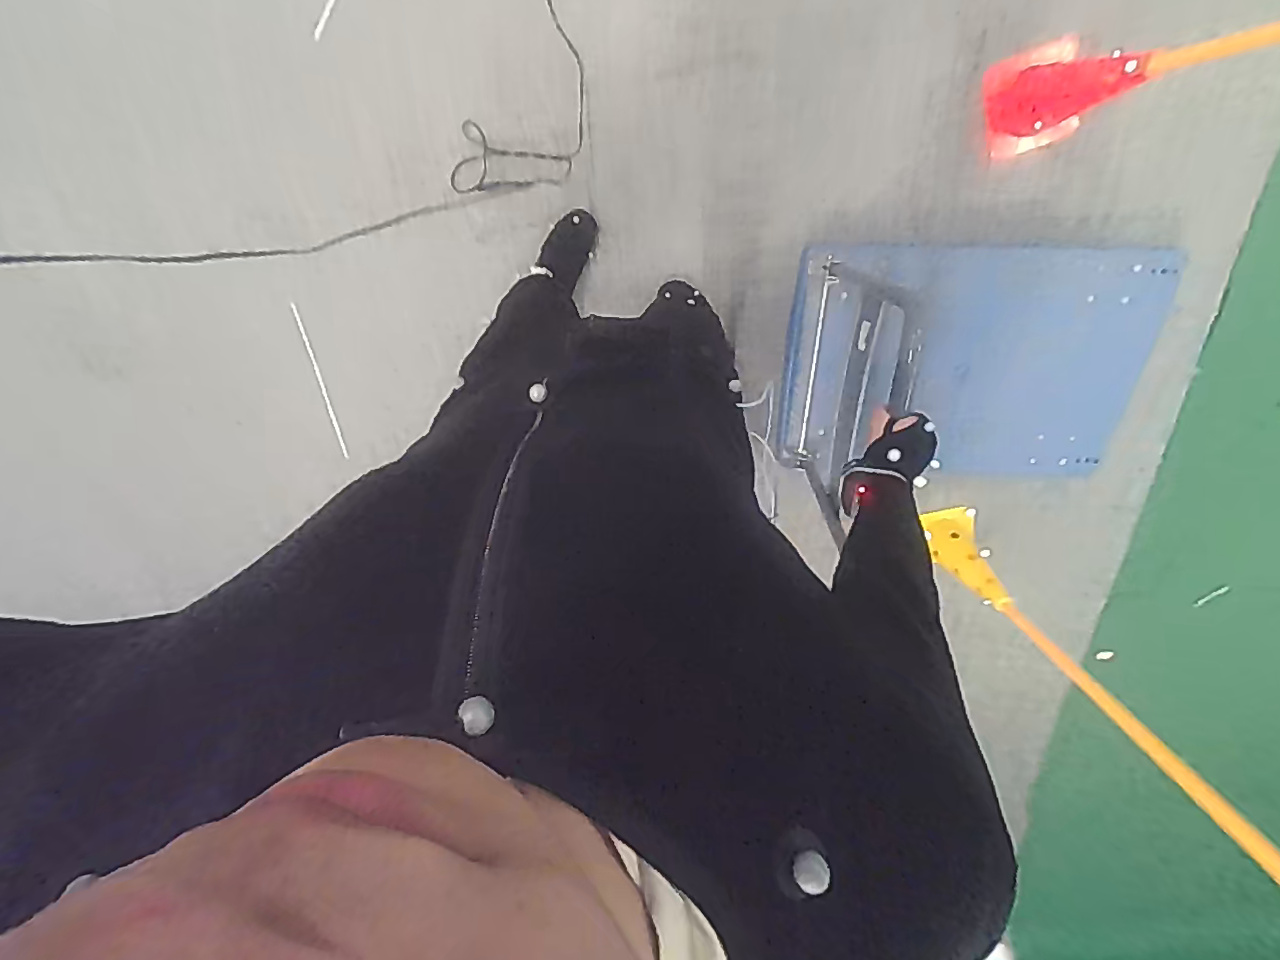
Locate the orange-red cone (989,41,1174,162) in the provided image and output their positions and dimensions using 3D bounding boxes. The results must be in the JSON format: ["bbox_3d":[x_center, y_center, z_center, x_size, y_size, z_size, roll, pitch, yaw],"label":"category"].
[{"bbox_3d":[0.907,-0.795,1.093,0.198,0.360,0.199,-16,113,9],"label":"orange-red cone"}]
